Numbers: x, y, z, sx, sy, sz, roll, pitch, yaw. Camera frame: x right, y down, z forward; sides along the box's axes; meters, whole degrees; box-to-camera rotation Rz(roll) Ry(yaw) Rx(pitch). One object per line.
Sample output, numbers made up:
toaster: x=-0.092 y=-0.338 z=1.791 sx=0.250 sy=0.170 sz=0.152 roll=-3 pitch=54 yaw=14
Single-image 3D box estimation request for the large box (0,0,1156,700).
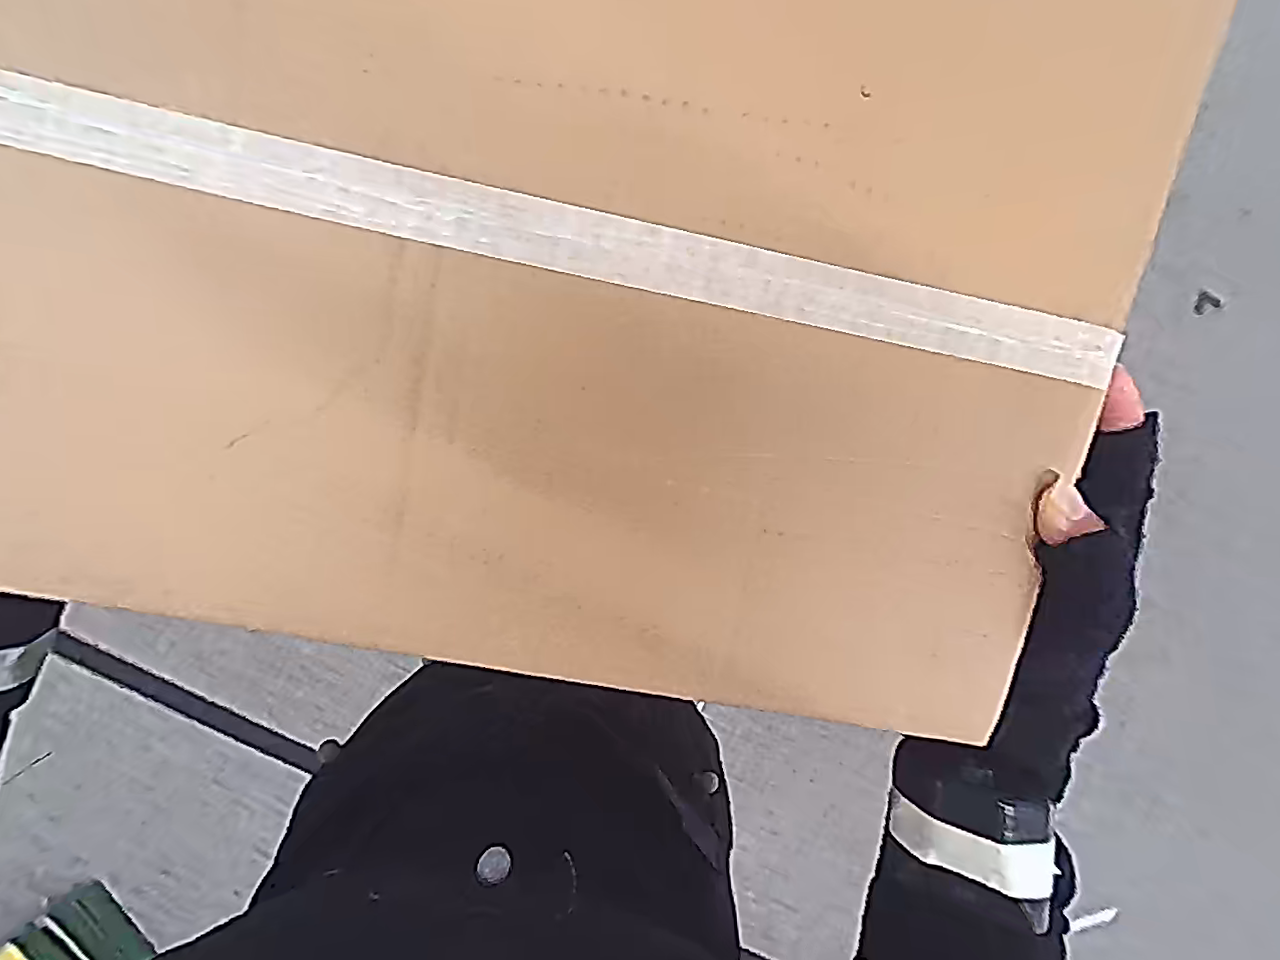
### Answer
large box: x=-0.044 y=-0.107 z=0.339 sx=0.408 sy=0.320 sz=0.320 roll=10 pitch=99 yaw=-5
